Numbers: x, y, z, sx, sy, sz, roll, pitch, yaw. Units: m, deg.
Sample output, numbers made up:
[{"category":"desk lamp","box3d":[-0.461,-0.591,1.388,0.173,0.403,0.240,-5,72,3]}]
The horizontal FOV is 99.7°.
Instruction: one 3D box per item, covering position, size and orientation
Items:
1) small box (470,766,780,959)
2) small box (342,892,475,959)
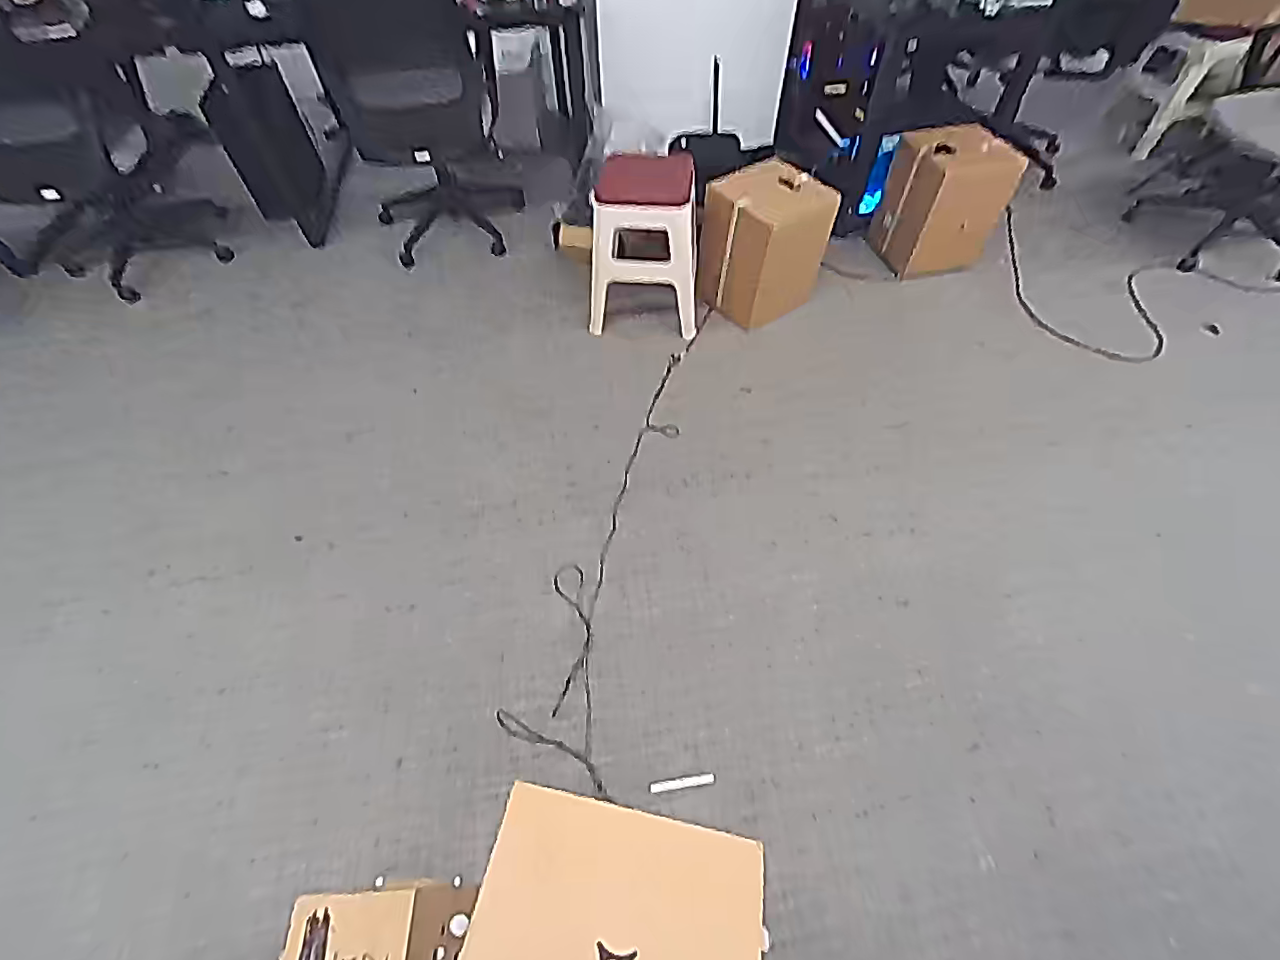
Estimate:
[{"category":"small box","box3d":[-0.019,0.316,0.343,0.168,0.176,0.179,13,48,3]},{"category":"small box","box3d":[-0.389,0.811,0.916,0.168,0.176,0.179,-3,55,0]}]
